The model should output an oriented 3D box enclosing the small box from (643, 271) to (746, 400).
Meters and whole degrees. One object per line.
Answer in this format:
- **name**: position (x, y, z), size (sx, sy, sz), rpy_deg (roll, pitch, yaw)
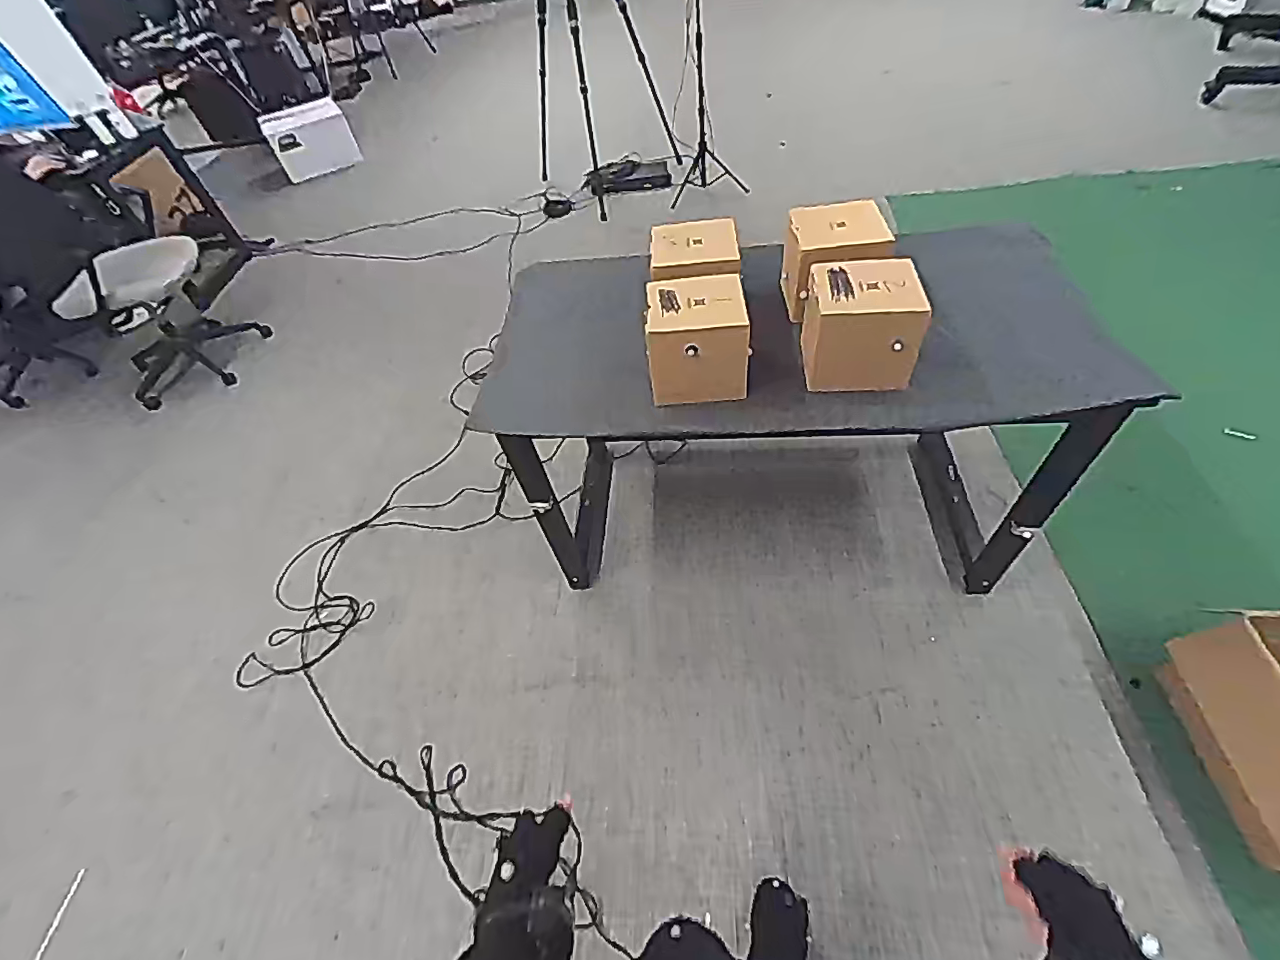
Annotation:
- **small box**: position (0.103, -0.266, 1.016), size (0.179, 0.176, 0.168), rpy_deg (-4, 50, 5)
